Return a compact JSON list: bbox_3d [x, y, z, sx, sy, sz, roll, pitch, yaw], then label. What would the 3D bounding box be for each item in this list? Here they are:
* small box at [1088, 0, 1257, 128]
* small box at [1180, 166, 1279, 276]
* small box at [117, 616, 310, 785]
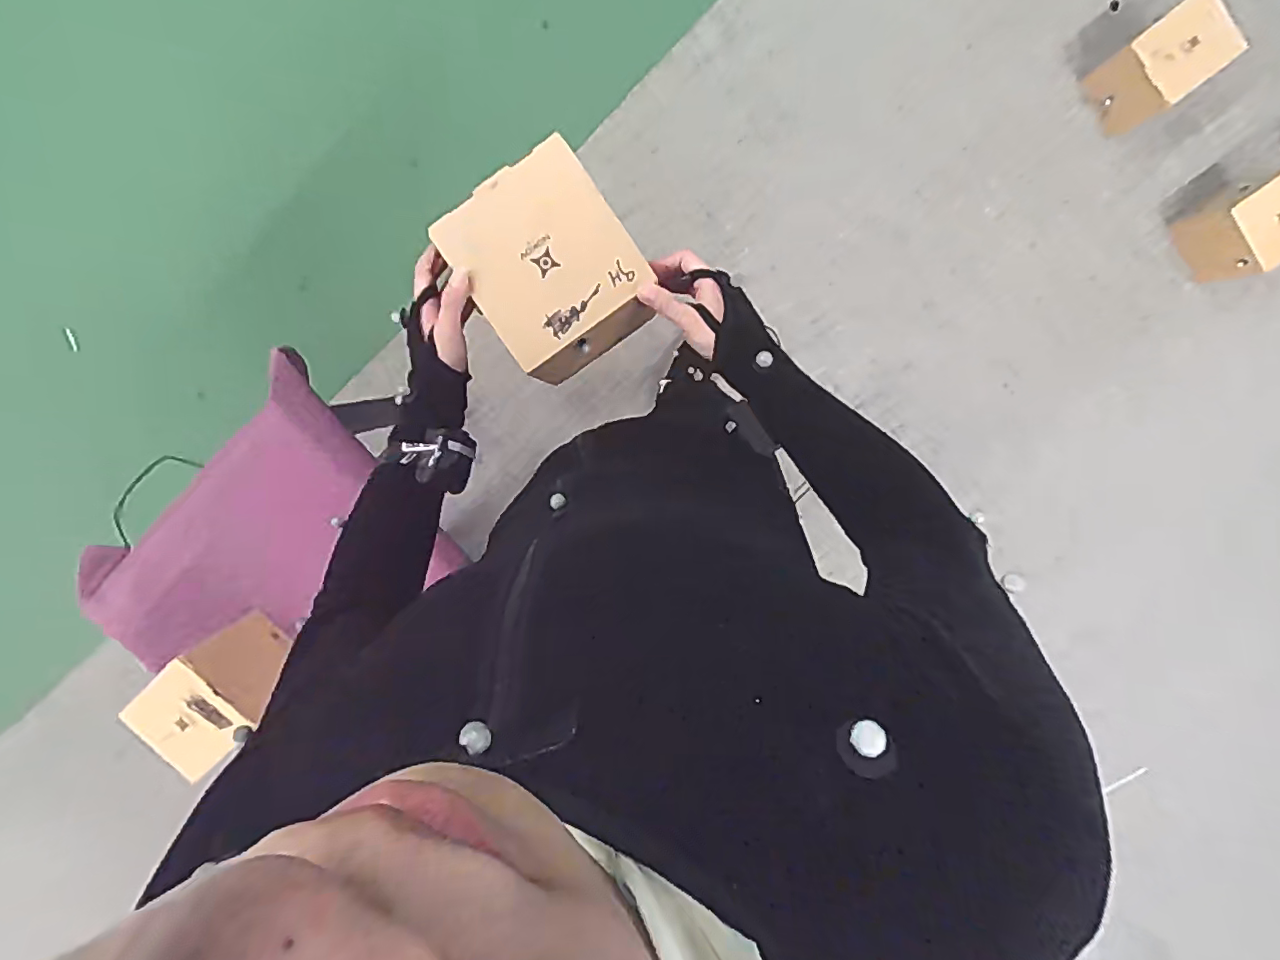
[{"bbox_3d":[1.172,-0.942,1.206,0.179,0.176,0.168,-38,96,12],"label":"small box"},{"bbox_3d":[1.438,-0.603,1.260,0.168,0.176,0.179,-37,98,12],"label":"small box"},{"bbox_3d":[-0.720,0.371,0.940,0.179,0.176,0.168,-40,96,13],"label":"small box"}]
